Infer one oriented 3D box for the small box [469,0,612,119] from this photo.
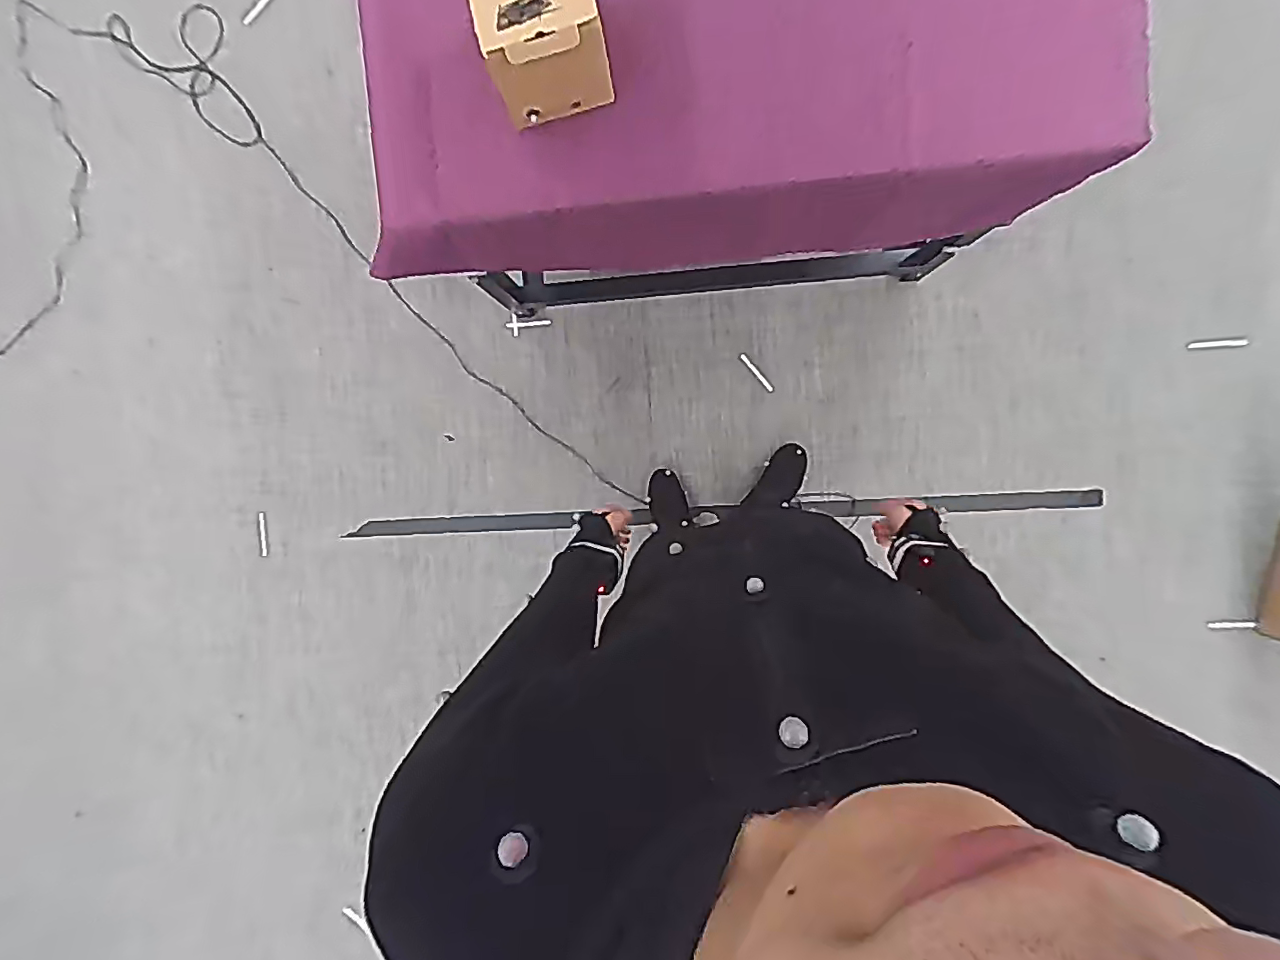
[{"bbox_3d":[-0.144,-0.666,0.788,0.168,0.176,0.179,-13,91,4],"label":"small box"}]
